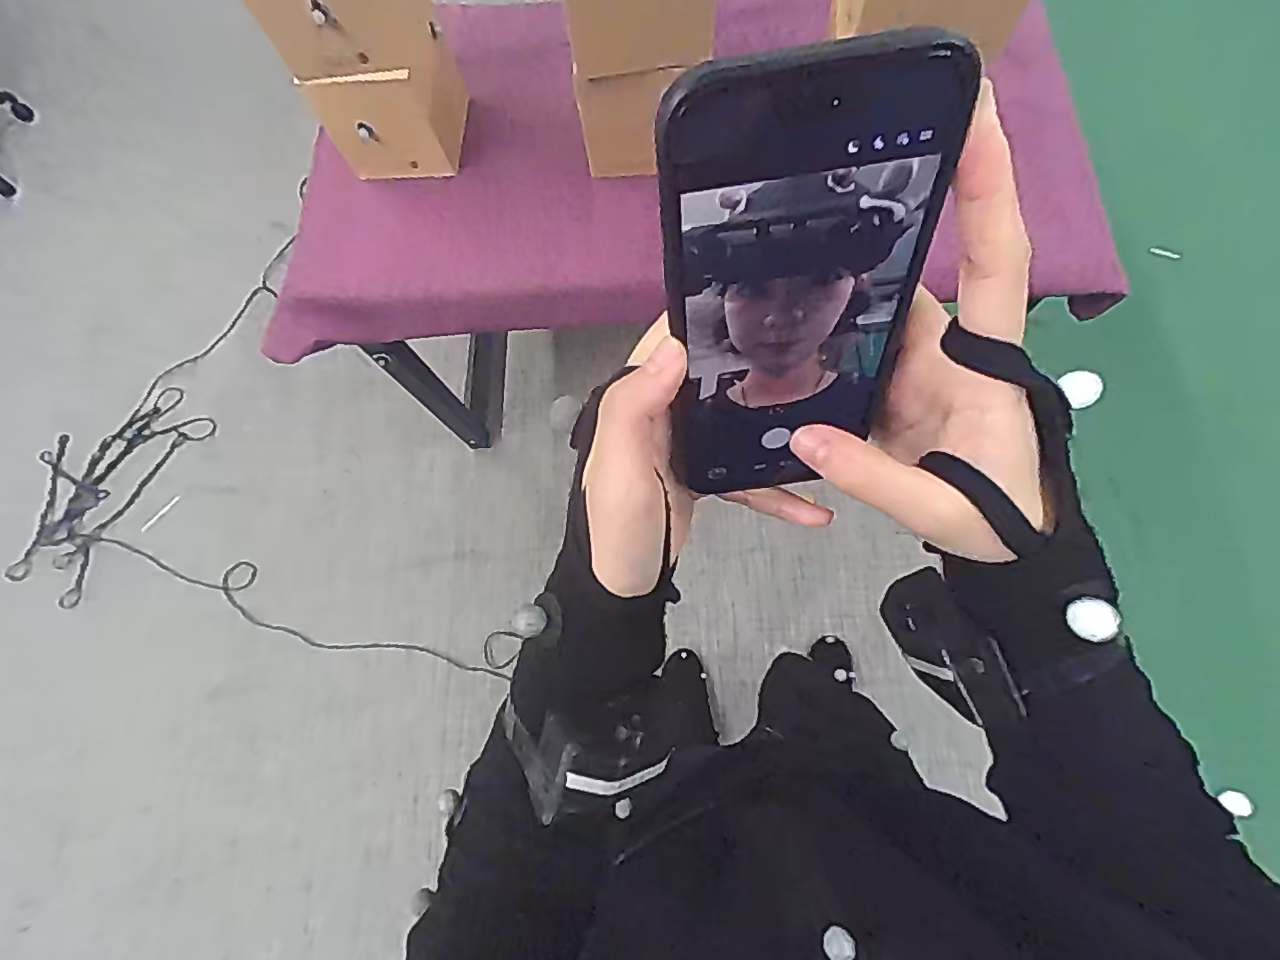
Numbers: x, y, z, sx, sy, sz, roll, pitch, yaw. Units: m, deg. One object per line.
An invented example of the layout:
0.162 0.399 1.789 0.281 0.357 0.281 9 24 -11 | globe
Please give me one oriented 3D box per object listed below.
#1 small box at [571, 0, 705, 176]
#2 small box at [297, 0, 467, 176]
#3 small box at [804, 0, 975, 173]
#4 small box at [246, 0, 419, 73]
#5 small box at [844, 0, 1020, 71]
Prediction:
0.004 -0.580 0.799 0.179 0.176 0.168 0 73 5 | small box
-0.384 -0.600 0.839 0.168 0.176 0.179 1 73 5 | small box
0.343 -0.567 0.767 0.179 0.176 0.168 6 73 7 | small box
-0.398 -0.655 0.684 0.168 0.176 0.179 -4 74 3 | small box
0.338 -0.599 0.606 0.179 0.176 0.168 6 74 6 | small box
